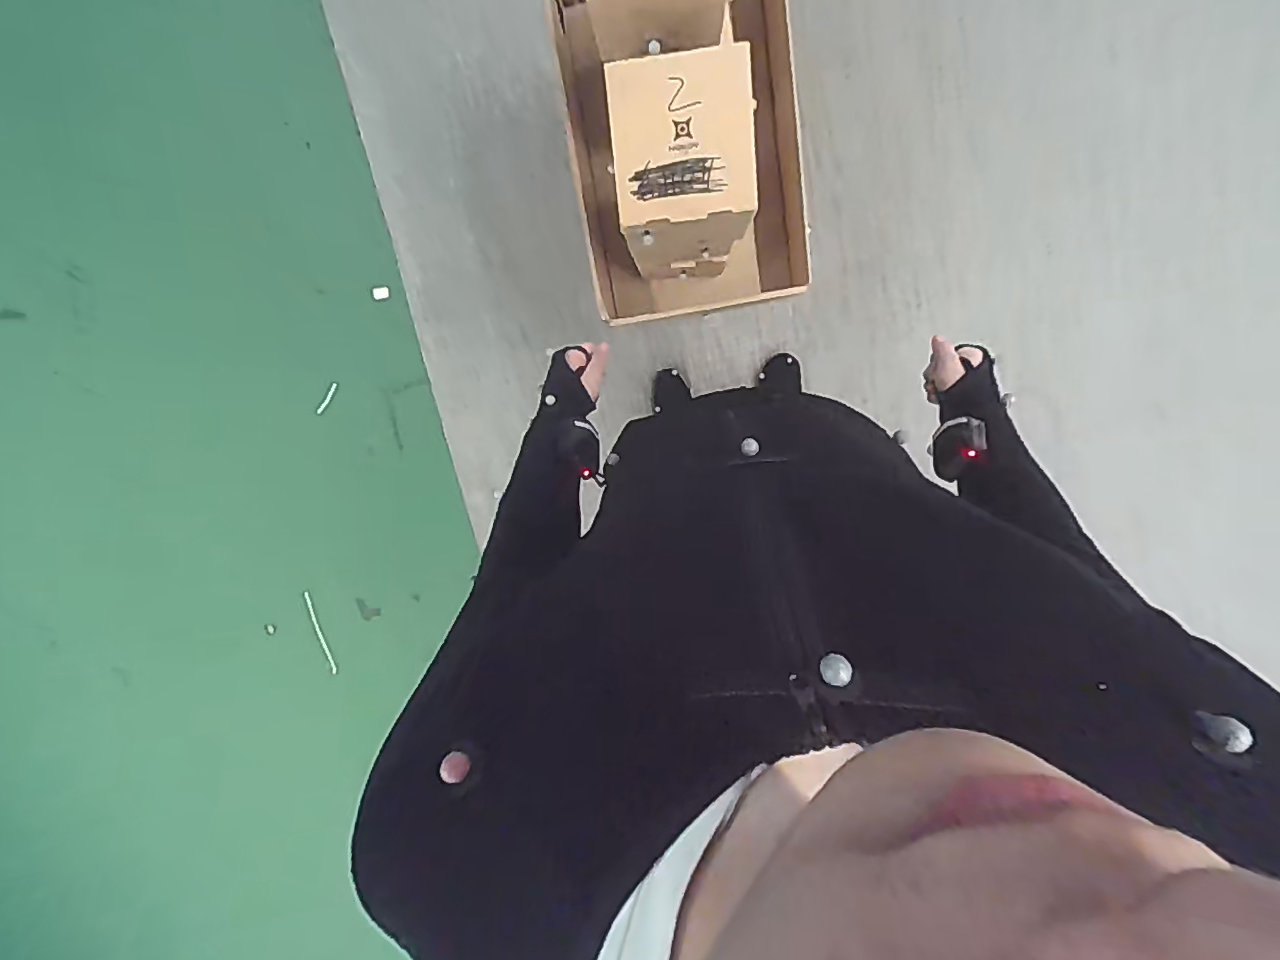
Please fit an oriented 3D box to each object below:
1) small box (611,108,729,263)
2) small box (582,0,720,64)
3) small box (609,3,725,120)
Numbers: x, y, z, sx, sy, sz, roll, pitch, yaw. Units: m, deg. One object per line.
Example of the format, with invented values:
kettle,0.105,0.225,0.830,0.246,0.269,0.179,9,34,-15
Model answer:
small box,0.051,-0.454,0.865,0.168,0.176,0.179,-5,101,4
small box,0.012,-0.648,0.657,0.168,0.176,0.179,0,106,4
small box,0.027,-0.685,0.816,0.168,0.176,0.179,-10,104,6
